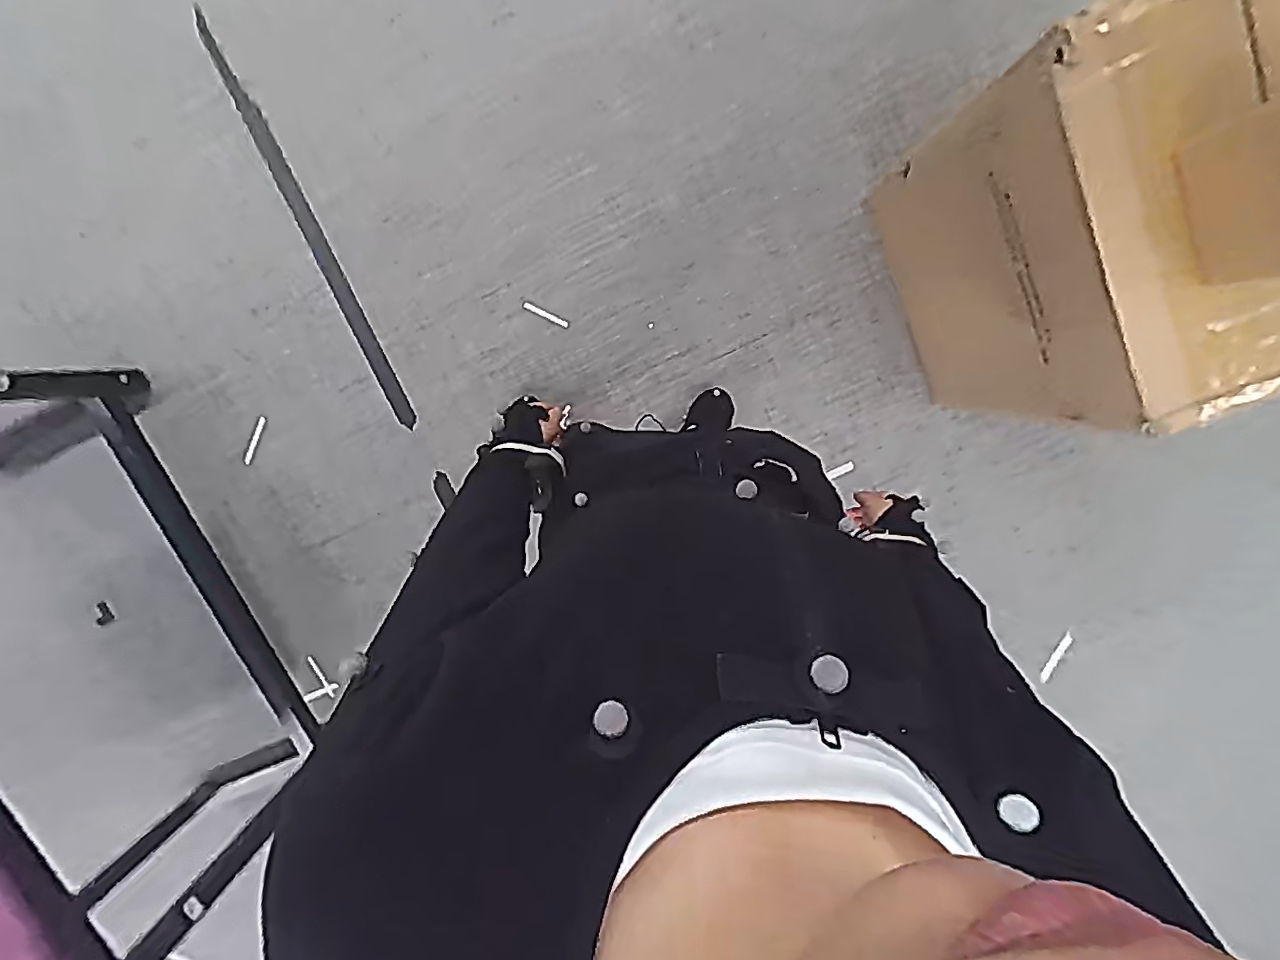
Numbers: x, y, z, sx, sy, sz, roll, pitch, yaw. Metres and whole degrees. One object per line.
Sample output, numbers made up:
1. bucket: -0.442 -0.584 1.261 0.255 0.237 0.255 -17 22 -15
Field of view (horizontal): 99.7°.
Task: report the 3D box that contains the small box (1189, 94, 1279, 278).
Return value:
1. small box: 0.732 -0.332 0.556 0.168 0.176 0.179 -21 100 9
